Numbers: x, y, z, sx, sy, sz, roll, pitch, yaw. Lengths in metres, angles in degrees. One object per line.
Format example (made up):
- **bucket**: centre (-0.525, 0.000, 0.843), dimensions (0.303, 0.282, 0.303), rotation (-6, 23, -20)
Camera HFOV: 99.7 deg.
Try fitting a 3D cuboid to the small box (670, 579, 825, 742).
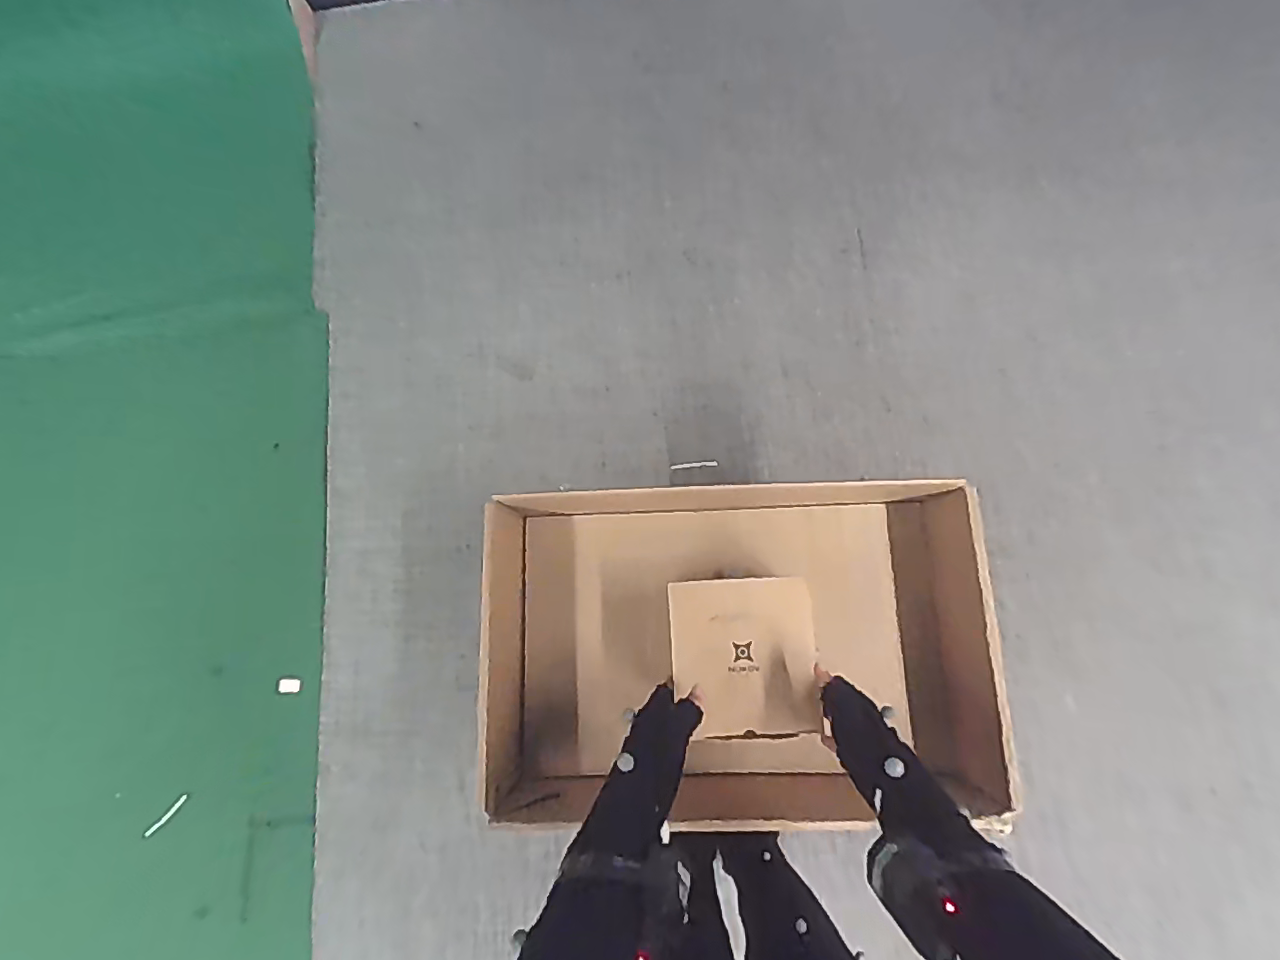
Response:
- **small box**: centre (0.126, 0.223, 0.696), dimensions (0.168, 0.176, 0.179), rotation (-3, 75, 3)
